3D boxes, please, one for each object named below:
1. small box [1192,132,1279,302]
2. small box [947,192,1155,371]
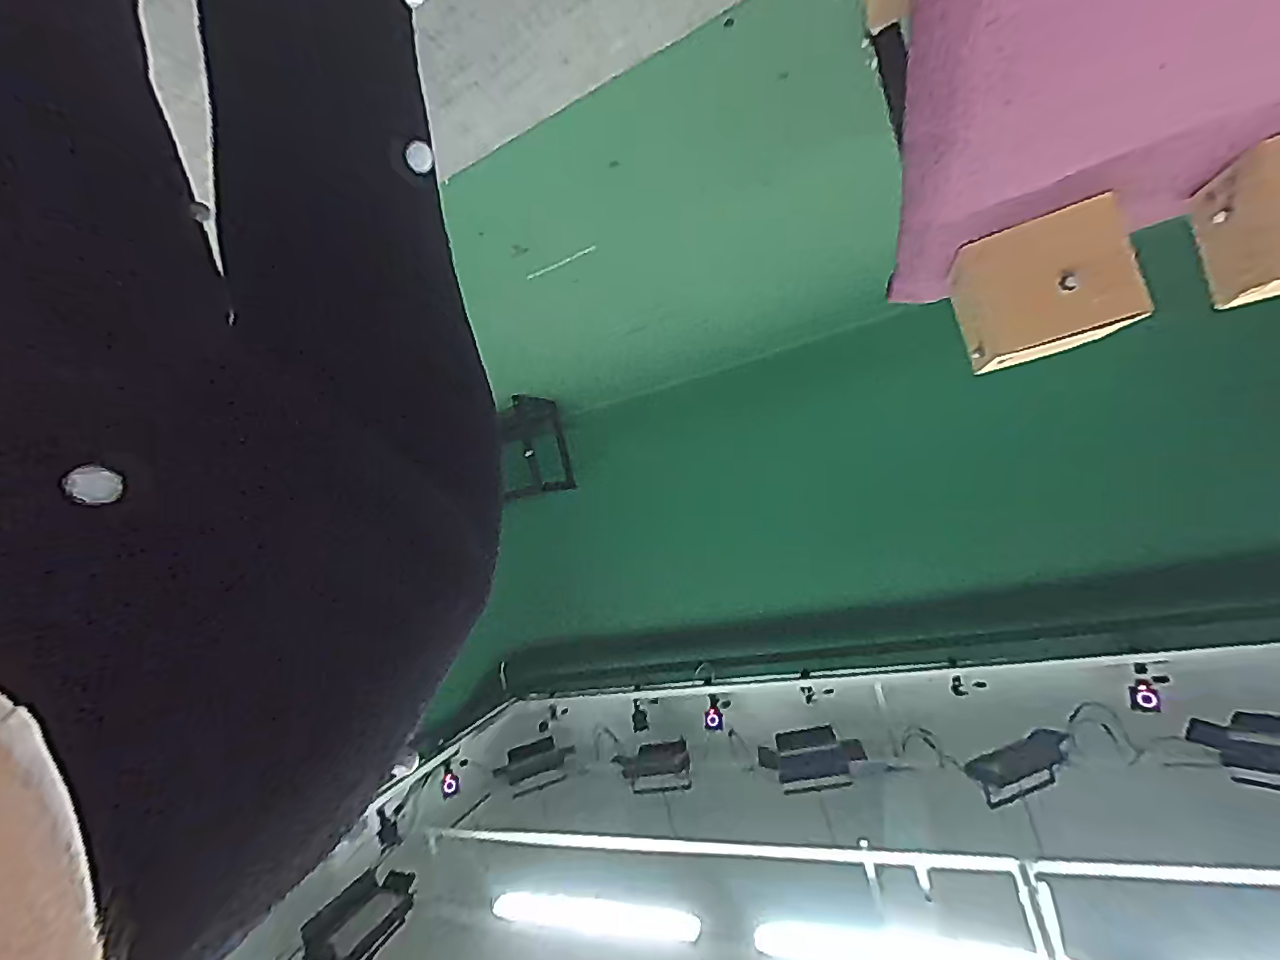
[{"bbox_3d":[0.865,-0.353,0.679,0.179,0.176,0.168,-13,175,23],"label":"small box"},{"bbox_3d":[0.580,-0.279,0.789,0.179,0.176,0.168,-17,174,22],"label":"small box"}]
